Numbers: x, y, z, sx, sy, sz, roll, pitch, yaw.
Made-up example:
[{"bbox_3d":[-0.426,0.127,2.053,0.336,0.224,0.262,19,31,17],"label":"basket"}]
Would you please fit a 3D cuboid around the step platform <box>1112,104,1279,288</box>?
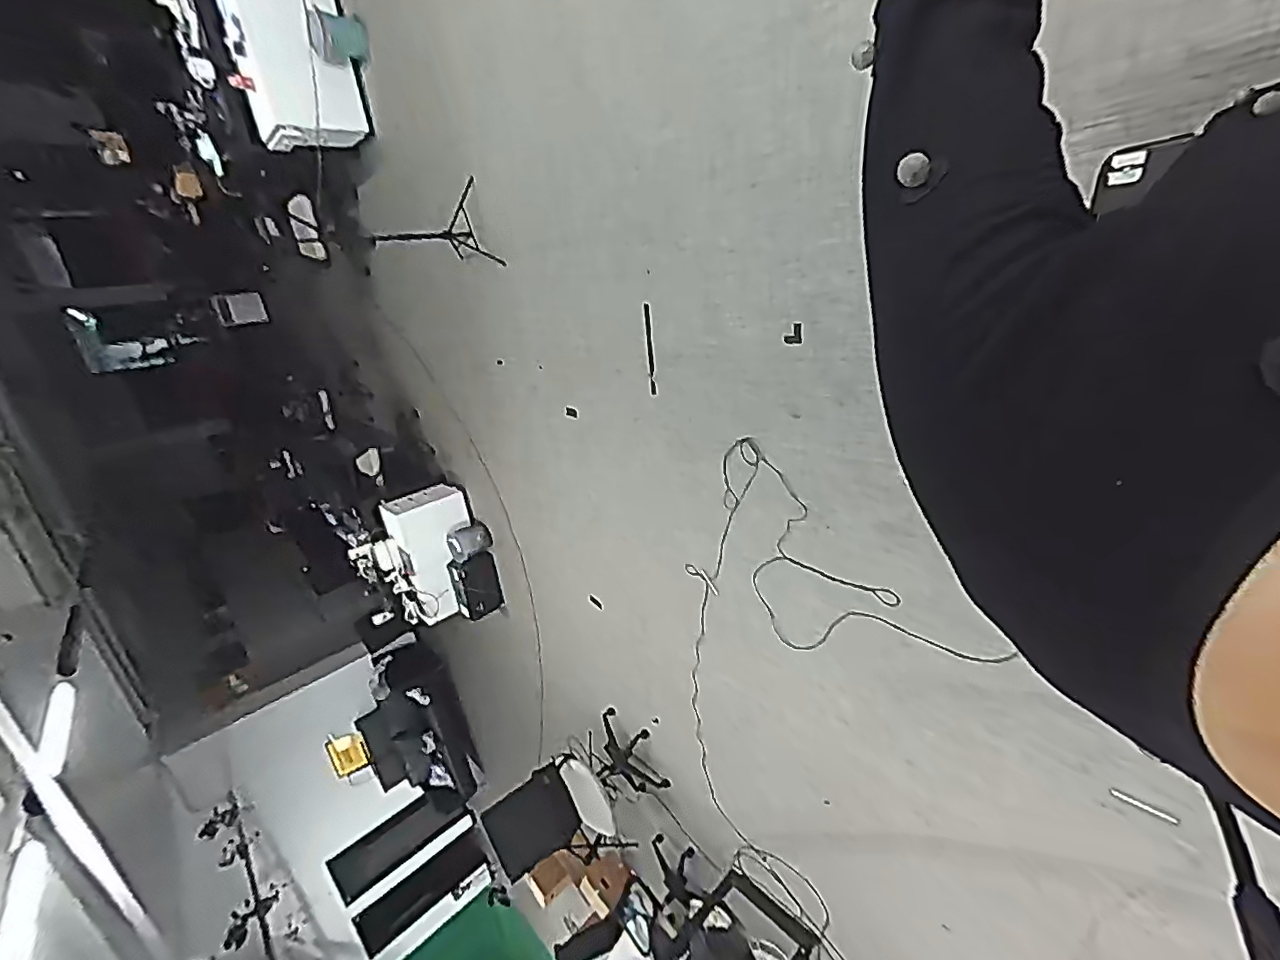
[{"bbox_3d":[1.230,-0.503,0.890,0.684,0.204,0.286,11,117,46],"label":"step platform"}]
